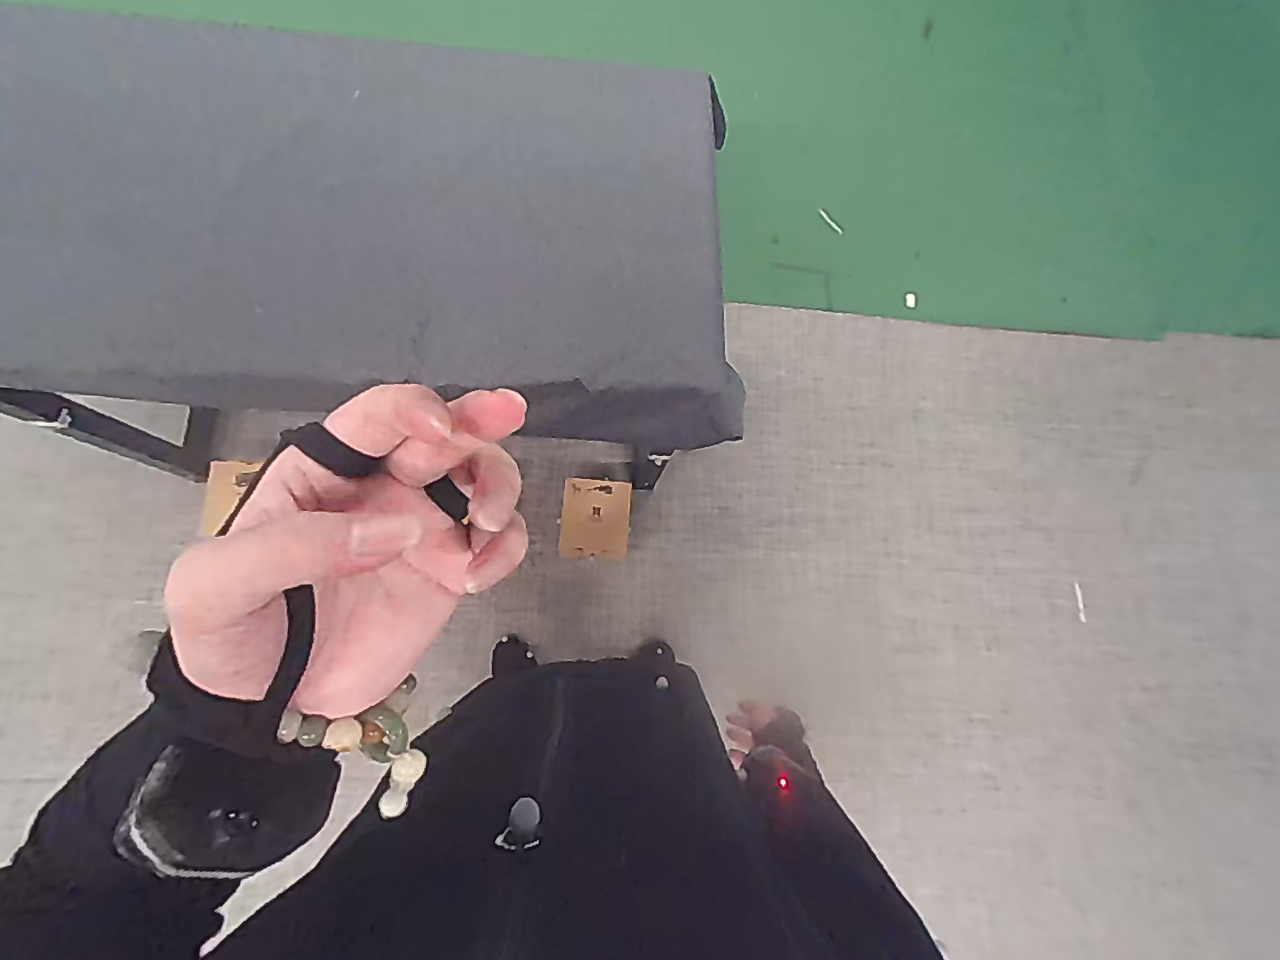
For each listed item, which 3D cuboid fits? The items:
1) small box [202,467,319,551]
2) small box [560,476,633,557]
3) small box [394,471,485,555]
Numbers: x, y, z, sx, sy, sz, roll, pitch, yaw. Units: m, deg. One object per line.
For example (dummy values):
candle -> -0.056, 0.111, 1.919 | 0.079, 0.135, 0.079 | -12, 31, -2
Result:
small box -> -0.900, 0.074, 1.301 | 0.168, 0.176, 0.179 | 0, 77, -6
small box -> -0.111, 0.100, 1.385 | 0.168, 0.176, 0.179 | 5, 75, -5
small box -> -0.488, 0.089, 1.346 | 0.168, 0.176, 0.179 | 6, 75, -6
